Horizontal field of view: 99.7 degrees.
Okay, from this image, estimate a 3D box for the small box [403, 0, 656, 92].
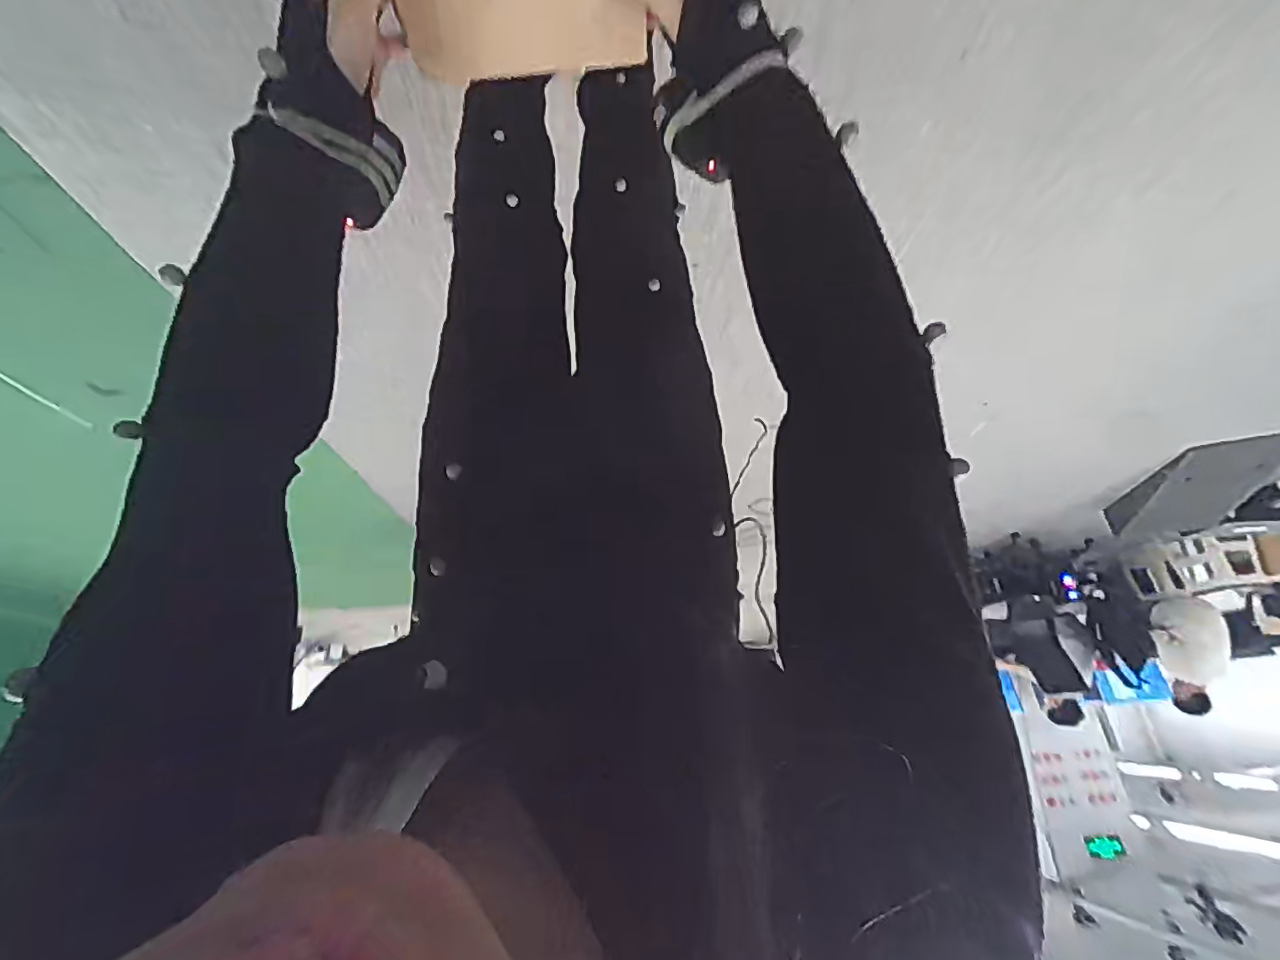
[{"bbox_3d":[-0.085,-0.417,0.379,0.179,0.176,0.168,-6,159,-2],"label":"small box"}]
